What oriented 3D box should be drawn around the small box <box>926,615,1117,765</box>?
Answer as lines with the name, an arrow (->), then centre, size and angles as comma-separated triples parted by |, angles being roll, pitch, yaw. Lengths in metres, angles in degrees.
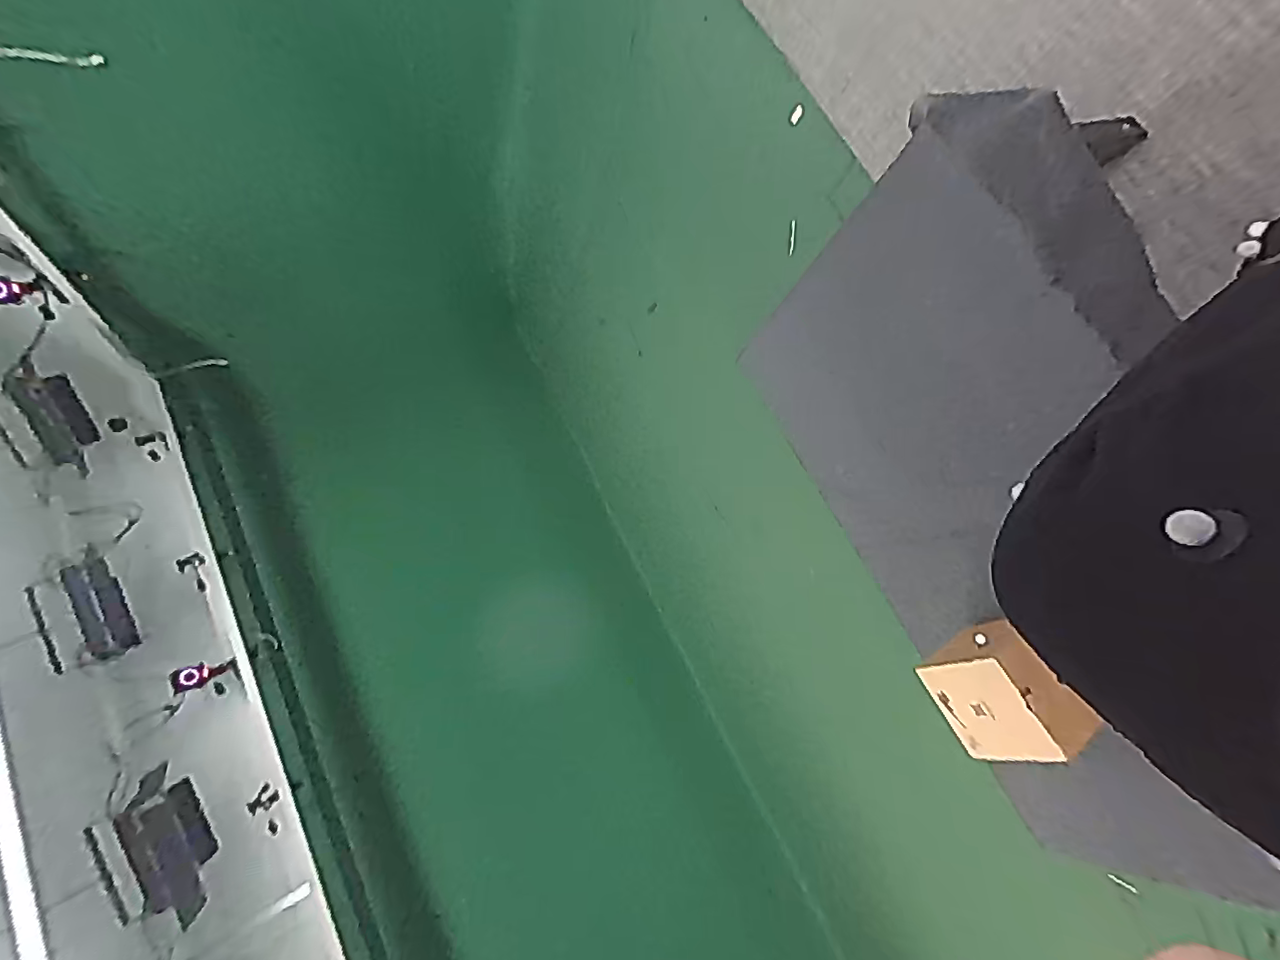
small box -> 0.633, 0.345, 0.896 | 0.168, 0.176, 0.179 | 58, 153, 17
